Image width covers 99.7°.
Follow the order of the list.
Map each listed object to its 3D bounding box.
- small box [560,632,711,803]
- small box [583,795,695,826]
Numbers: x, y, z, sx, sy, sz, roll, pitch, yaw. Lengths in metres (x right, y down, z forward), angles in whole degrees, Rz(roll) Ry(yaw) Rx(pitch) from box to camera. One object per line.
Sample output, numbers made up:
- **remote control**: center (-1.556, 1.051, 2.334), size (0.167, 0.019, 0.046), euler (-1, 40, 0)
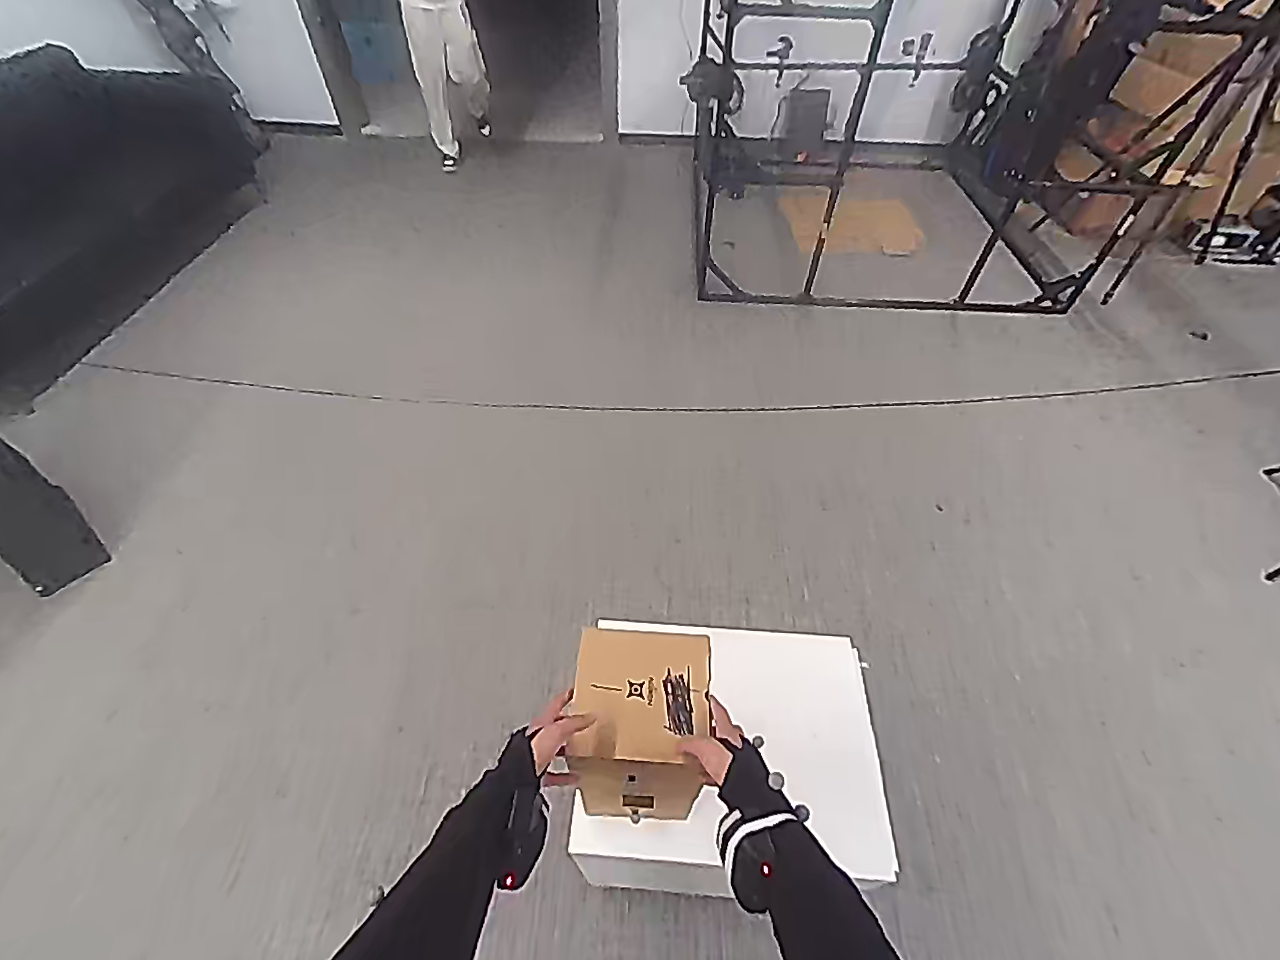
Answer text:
- **small box**: center (-0.001, 0.323, 0.730), size (0.179, 0.176, 0.168), euler (3, 48, 3)
- **small box**: center (-0.001, 0.427, 0.858), size (0.168, 0.176, 0.179), euler (3, 49, 2)
